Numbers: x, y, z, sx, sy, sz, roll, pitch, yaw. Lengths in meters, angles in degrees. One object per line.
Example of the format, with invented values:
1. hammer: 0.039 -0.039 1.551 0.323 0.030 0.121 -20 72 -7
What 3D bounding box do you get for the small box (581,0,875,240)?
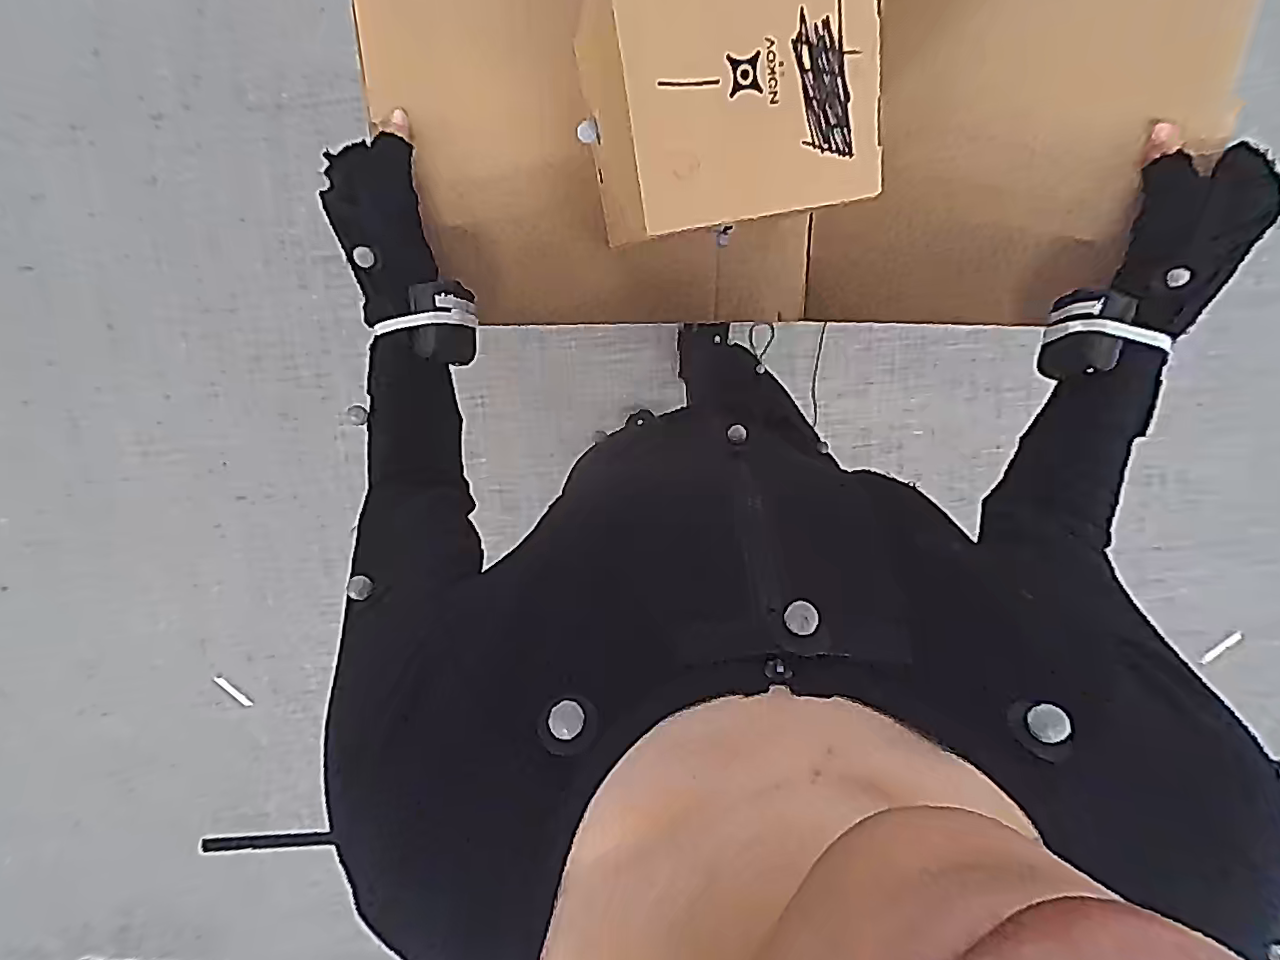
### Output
1. small box: 0.059 -0.295 0.429 0.179 0.176 0.168 -13 111 -7
